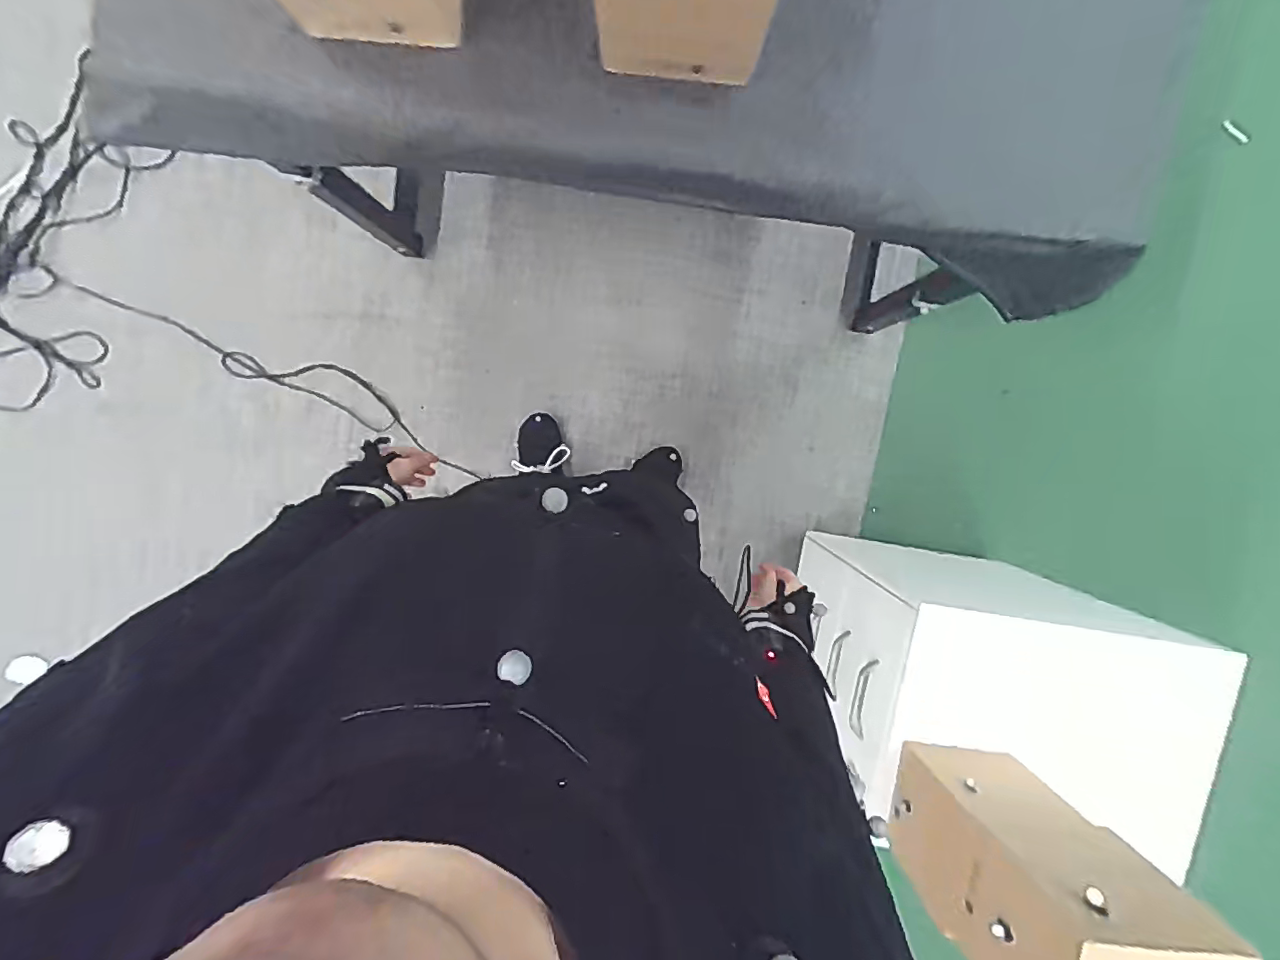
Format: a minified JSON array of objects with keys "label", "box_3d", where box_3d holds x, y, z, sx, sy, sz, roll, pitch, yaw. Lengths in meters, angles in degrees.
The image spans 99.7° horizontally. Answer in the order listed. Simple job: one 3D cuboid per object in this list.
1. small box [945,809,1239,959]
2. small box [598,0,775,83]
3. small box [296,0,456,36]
[{"label":"small box","box_3d":[0.475,0.500,0.599,0.179,0.176,0.168,6,96,-2]},{"label":"small box","box_3d":[0.049,-0.525,0.507,0.168,0.176,0.179,6,96,-2]},{"label":"small box","box_3d":[-0.273,-0.560,0.498,0.168,0.176,0.179,4,96,-2]}]
